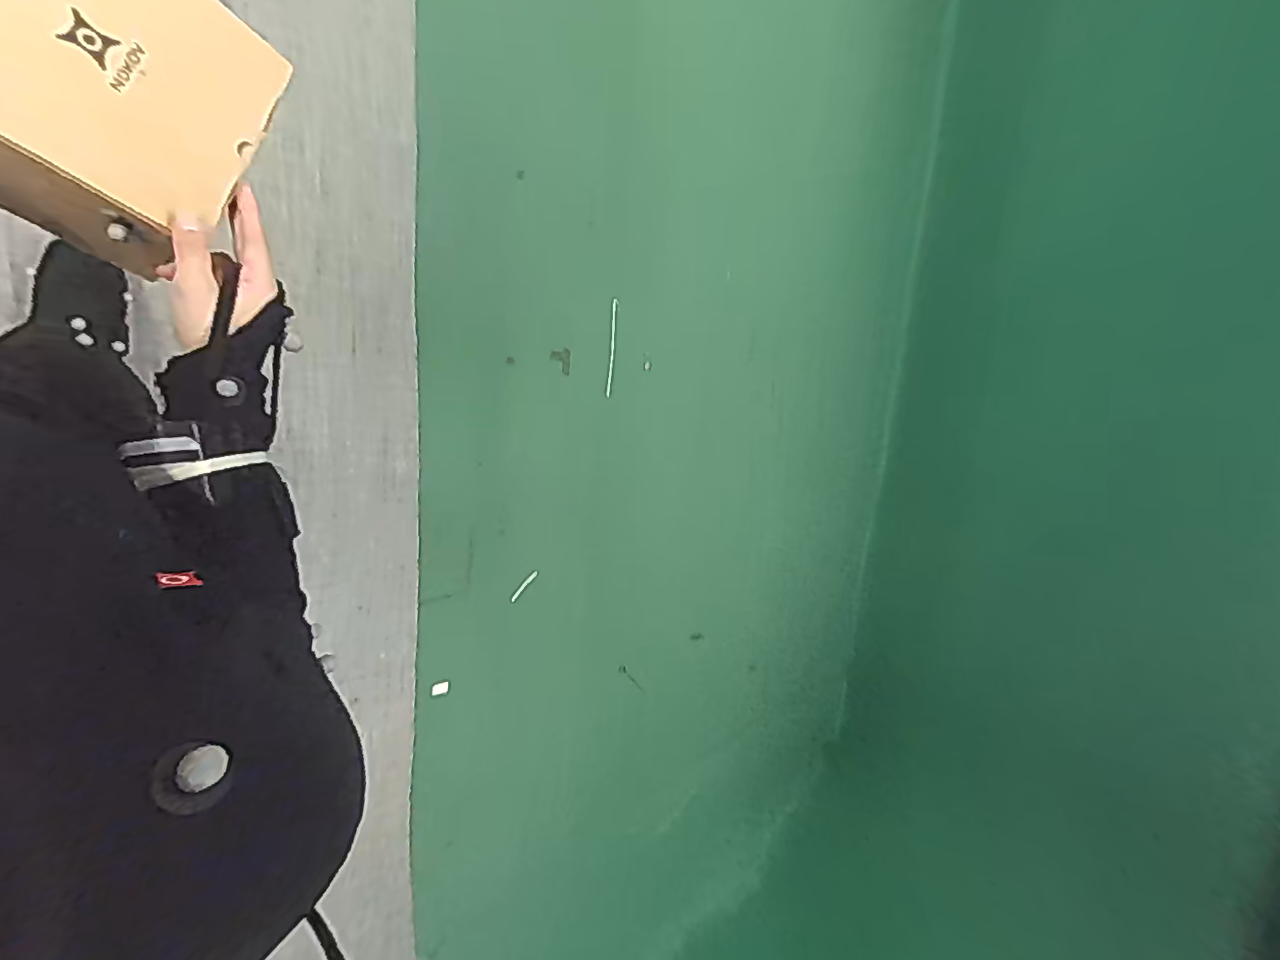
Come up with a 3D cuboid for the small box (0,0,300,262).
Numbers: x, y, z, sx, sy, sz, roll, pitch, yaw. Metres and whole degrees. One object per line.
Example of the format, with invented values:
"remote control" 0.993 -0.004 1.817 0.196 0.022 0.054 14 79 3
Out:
"small box" -0.393 -0.279 0.382 0.179 0.176 0.168 30 72 -50
